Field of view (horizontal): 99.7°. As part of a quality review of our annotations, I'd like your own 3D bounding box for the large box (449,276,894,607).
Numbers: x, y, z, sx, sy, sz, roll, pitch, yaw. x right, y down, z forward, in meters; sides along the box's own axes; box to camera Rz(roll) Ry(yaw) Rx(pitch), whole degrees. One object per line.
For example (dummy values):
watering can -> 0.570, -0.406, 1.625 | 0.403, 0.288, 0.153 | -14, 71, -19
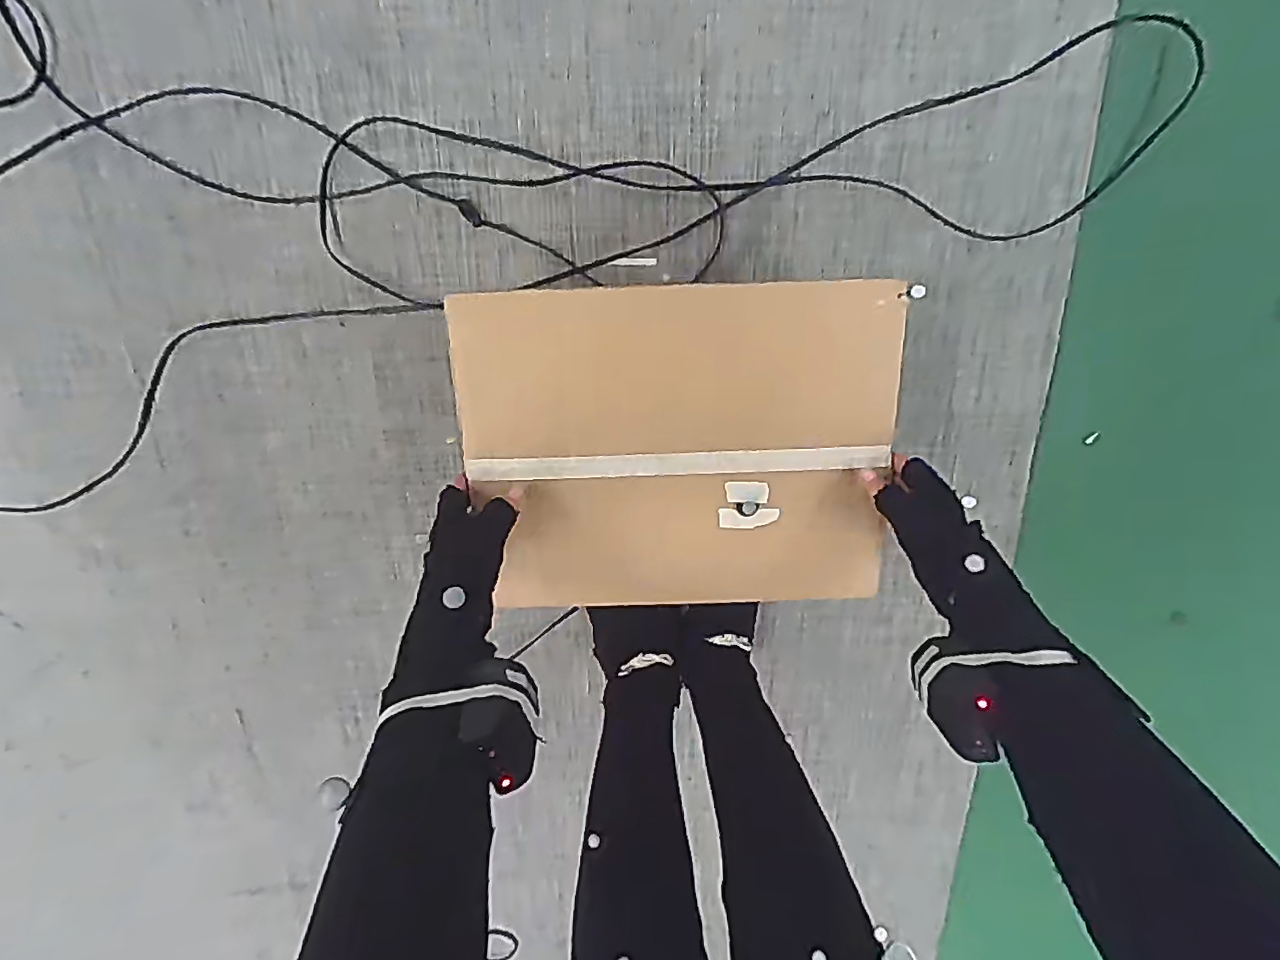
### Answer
large box -> 0.032, -0.066, 0.663 | 0.408, 0.320, 0.320 | -3, 109, 1
